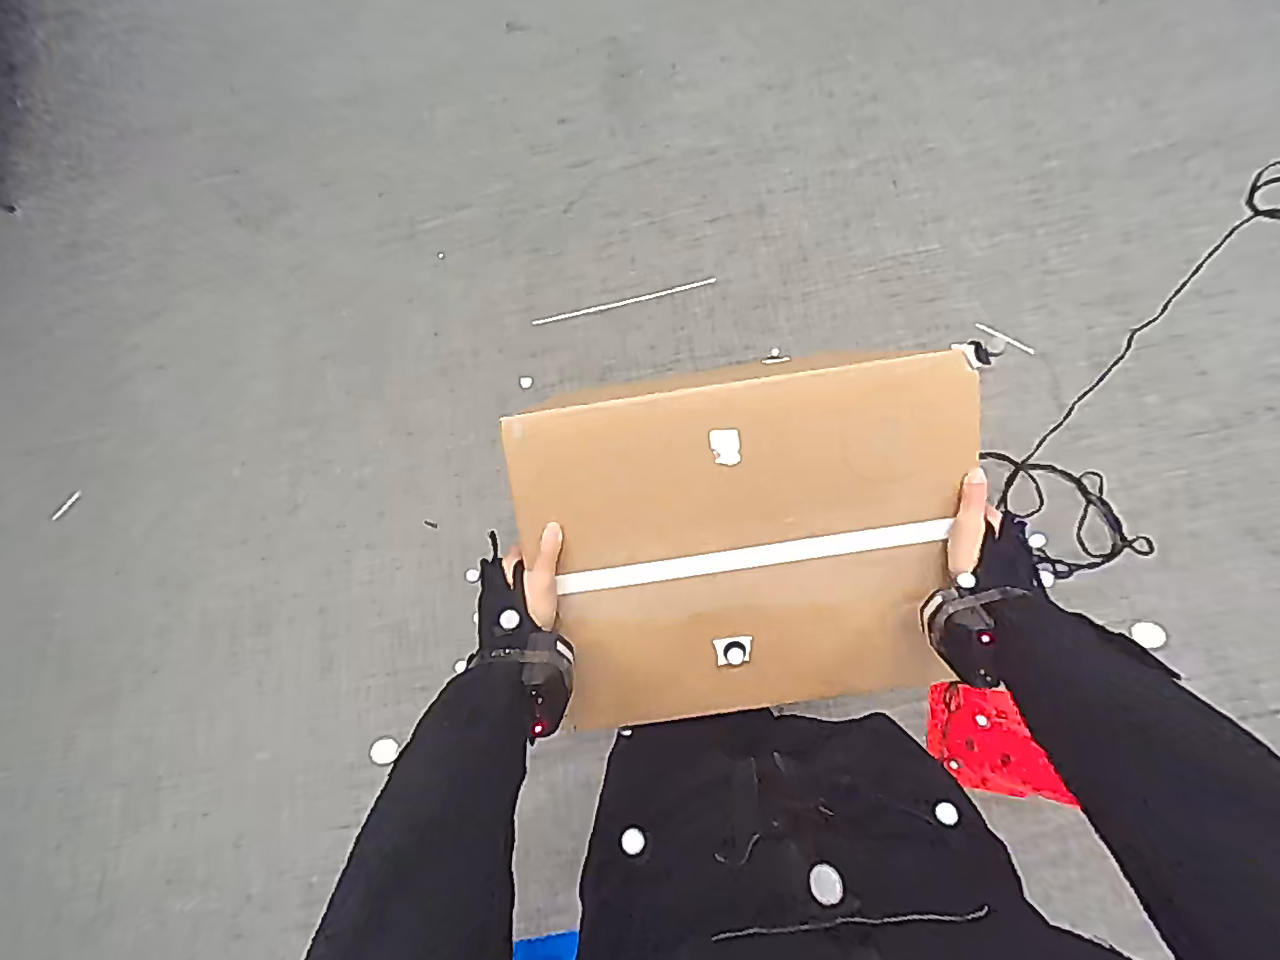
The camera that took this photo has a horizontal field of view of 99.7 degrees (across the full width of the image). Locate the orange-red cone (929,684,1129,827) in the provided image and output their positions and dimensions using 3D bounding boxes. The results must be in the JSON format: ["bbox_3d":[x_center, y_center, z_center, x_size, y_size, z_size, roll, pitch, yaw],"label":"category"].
[{"bbox_3d":[0.670,0.488,0.910,0.199,0.360,0.198,8,80,7],"label":"orange-red cone"}]

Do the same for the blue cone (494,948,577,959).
[{"bbox_3d":[-0.219,1.006,0.913,0.192,0.380,0.193,-11,76,4],"label":"blue cone"}]
